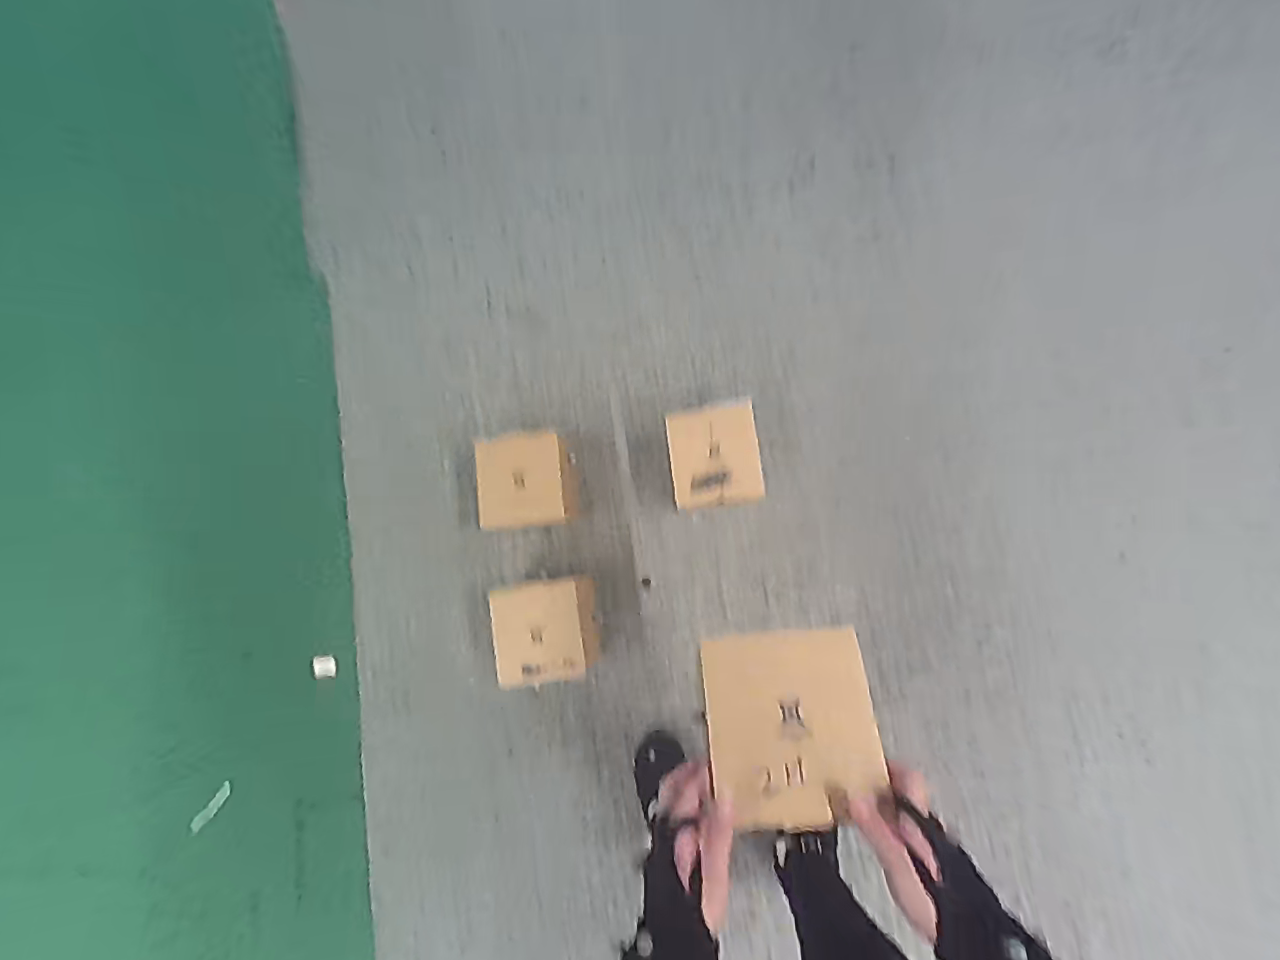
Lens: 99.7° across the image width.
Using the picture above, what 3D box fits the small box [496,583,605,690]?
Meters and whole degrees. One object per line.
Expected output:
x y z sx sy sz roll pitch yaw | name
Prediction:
-0.171 0.301 1.071 0.168 0.176 0.179 -10 80 5 | small box

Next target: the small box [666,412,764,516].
0.147 -0.023 1.083 0.168 0.176 0.179 -8 81 5 | small box
